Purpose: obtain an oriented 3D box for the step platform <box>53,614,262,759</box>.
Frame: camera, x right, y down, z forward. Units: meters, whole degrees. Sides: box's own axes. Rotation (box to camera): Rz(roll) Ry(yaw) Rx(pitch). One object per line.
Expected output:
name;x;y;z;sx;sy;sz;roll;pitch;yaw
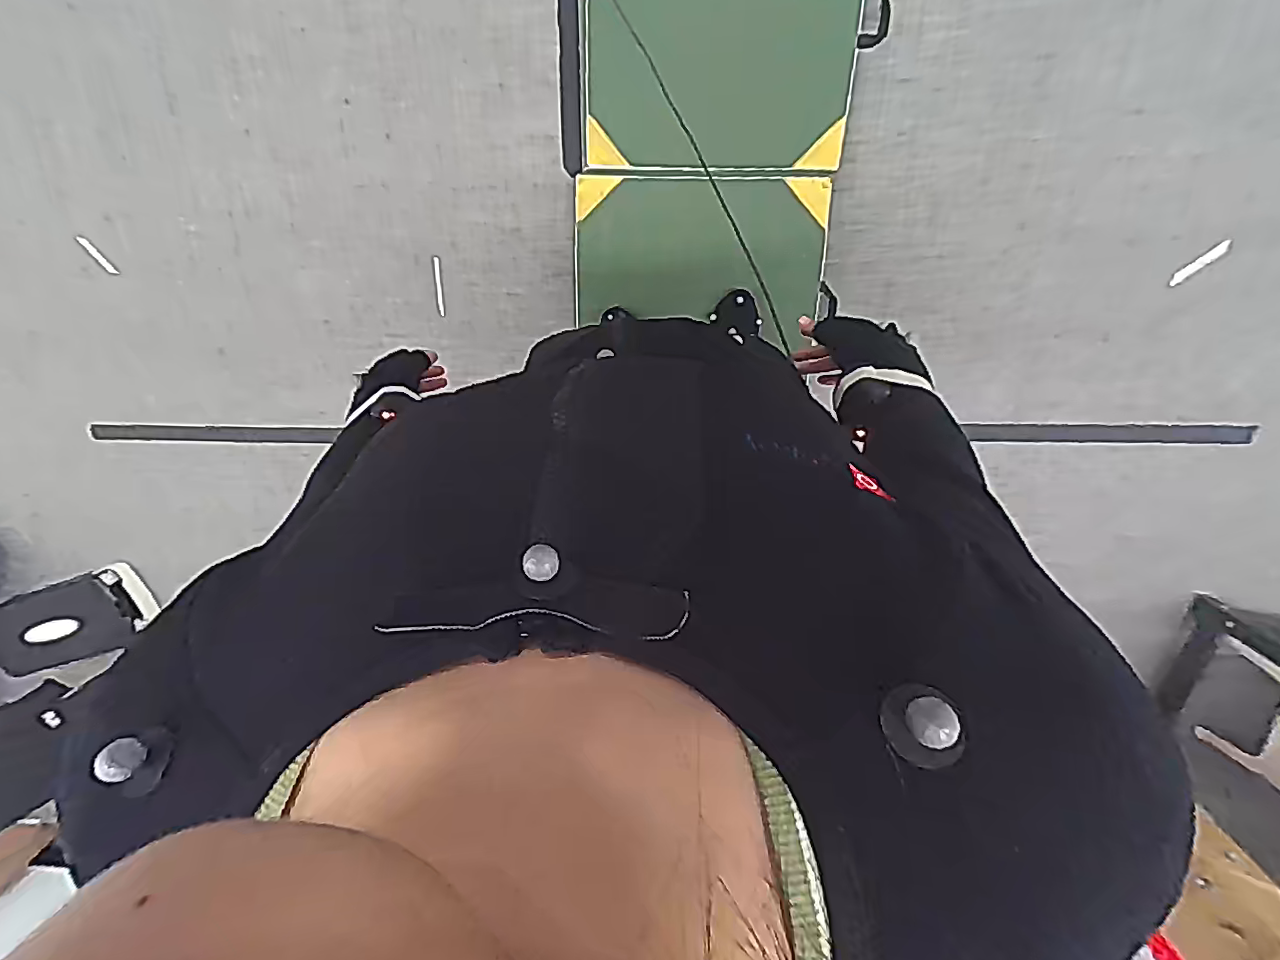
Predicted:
step platform;-1.736;0.747;1.945;0.684;0.204;0.286;-27;104;13
